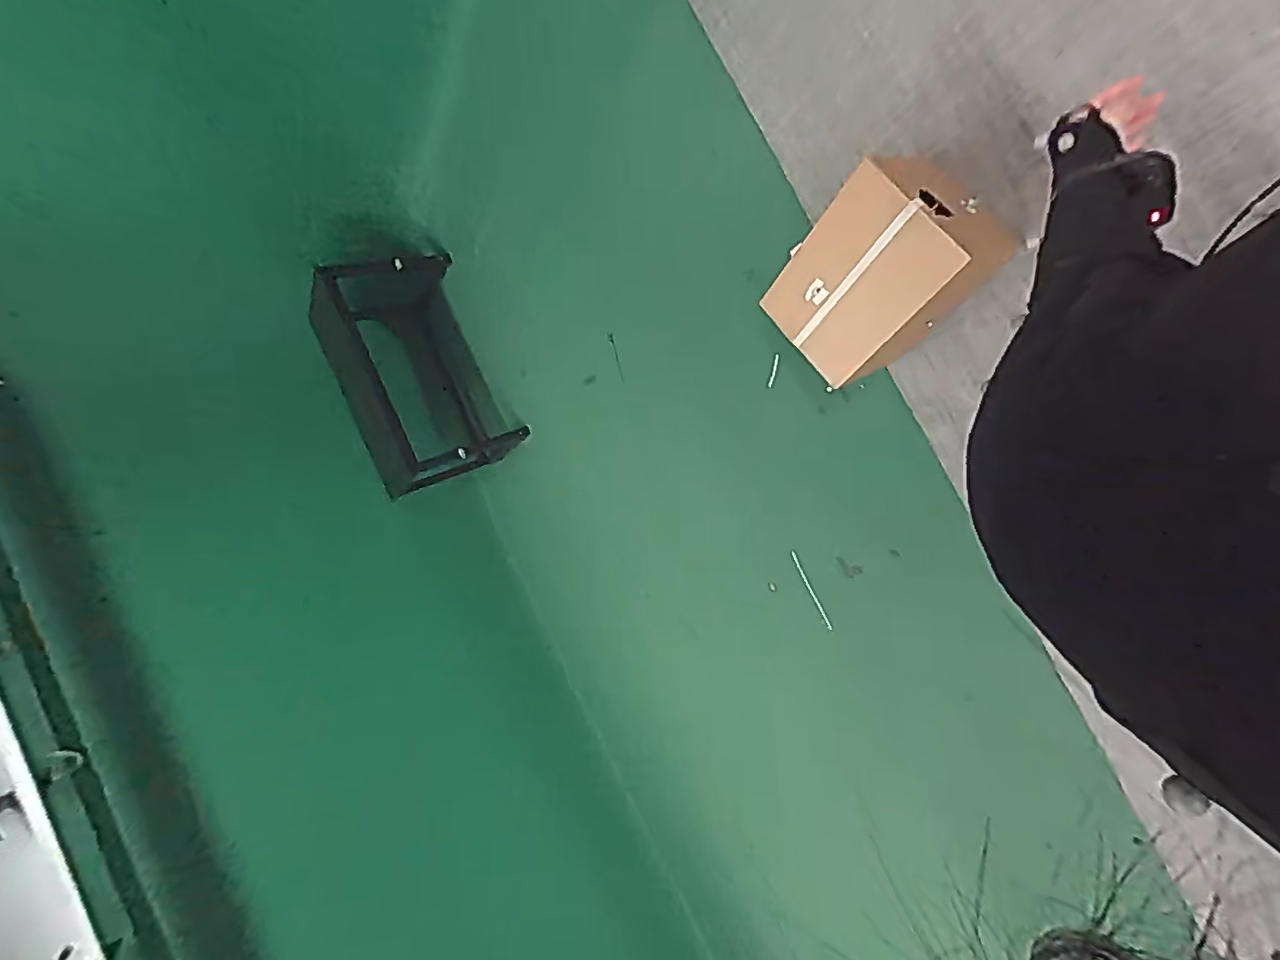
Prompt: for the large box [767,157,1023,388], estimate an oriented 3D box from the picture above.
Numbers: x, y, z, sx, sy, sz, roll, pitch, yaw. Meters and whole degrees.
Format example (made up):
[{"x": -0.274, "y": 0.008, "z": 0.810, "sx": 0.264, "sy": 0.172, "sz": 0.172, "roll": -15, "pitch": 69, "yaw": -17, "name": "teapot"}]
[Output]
[{"x": 0.597, "y": -0.499, "z": 1.309, "sx": 0.320, "sy": 0.320, "sz": 0.408, "roll": 55, "pitch": 144, "yaw": 15, "name": "large box"}]
